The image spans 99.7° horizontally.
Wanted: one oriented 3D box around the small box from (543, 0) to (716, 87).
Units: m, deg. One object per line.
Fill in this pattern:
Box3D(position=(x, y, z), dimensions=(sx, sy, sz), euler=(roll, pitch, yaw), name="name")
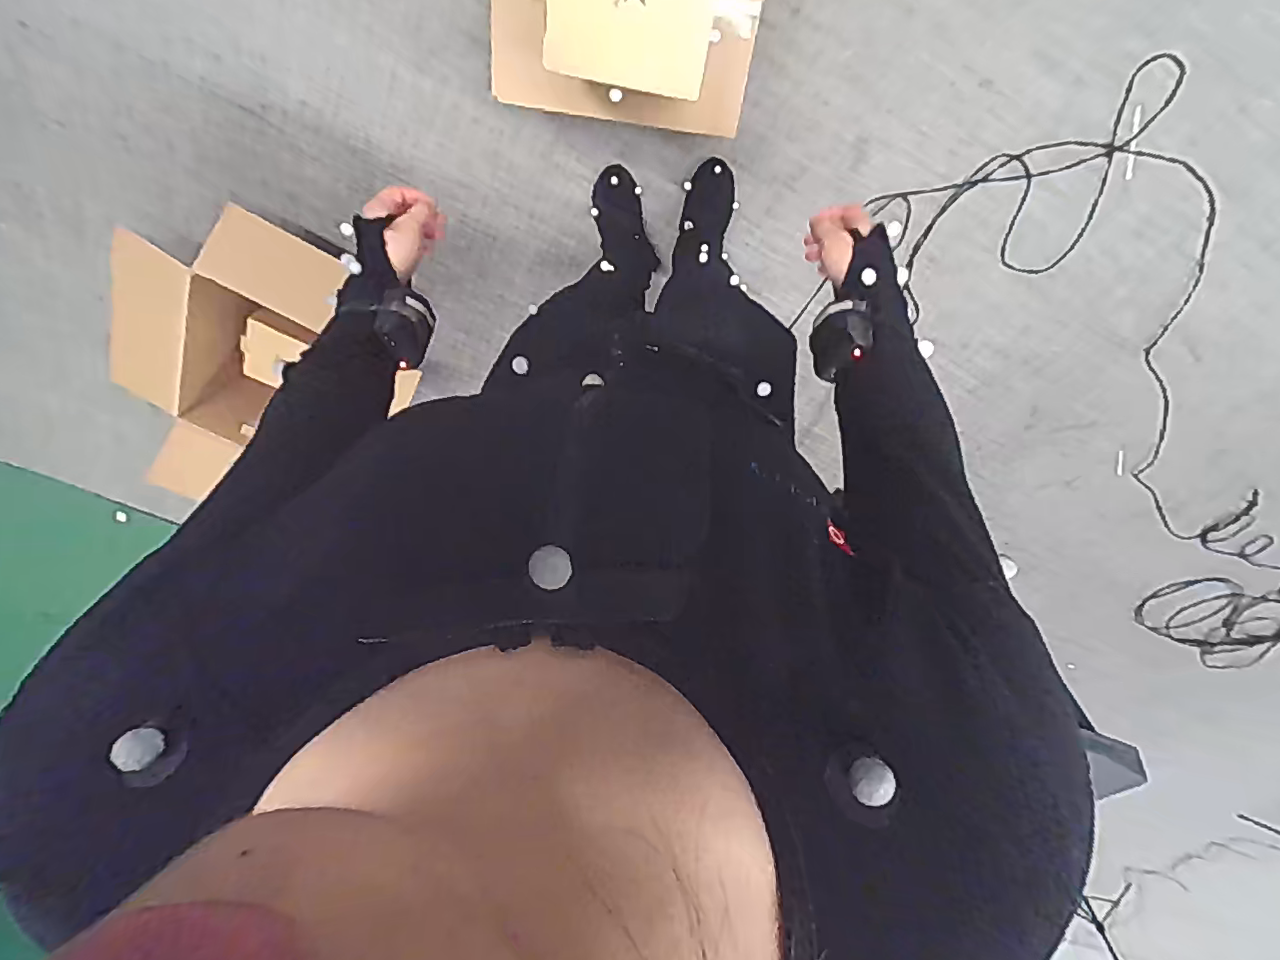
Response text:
Box3D(position=(-0.002, -0.560, 0.604), dimensions=(0.179, 0.176, 0.168), euler=(9, 128, -2), name="small box")
